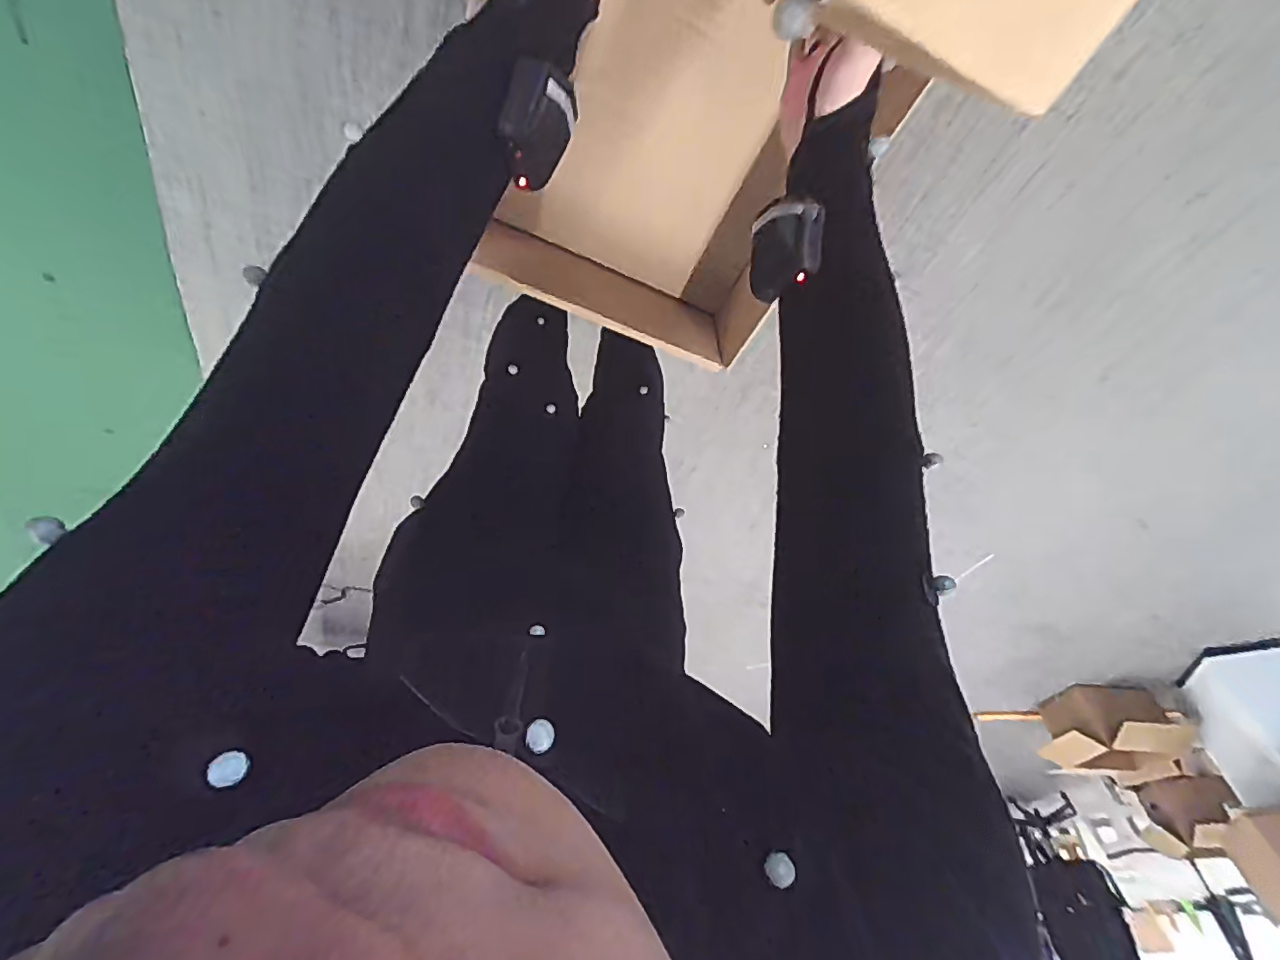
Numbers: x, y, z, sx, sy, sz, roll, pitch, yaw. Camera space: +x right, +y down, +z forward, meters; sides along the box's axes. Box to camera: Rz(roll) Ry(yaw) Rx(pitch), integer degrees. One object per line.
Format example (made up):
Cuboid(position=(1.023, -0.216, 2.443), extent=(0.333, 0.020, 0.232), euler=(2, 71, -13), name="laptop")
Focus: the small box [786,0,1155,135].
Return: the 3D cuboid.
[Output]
Cuboid(position=(0.109, -0.266, 0.189), extent=(0.179, 0.176, 0.168), euler=(17, 133, -16), name="small box")
